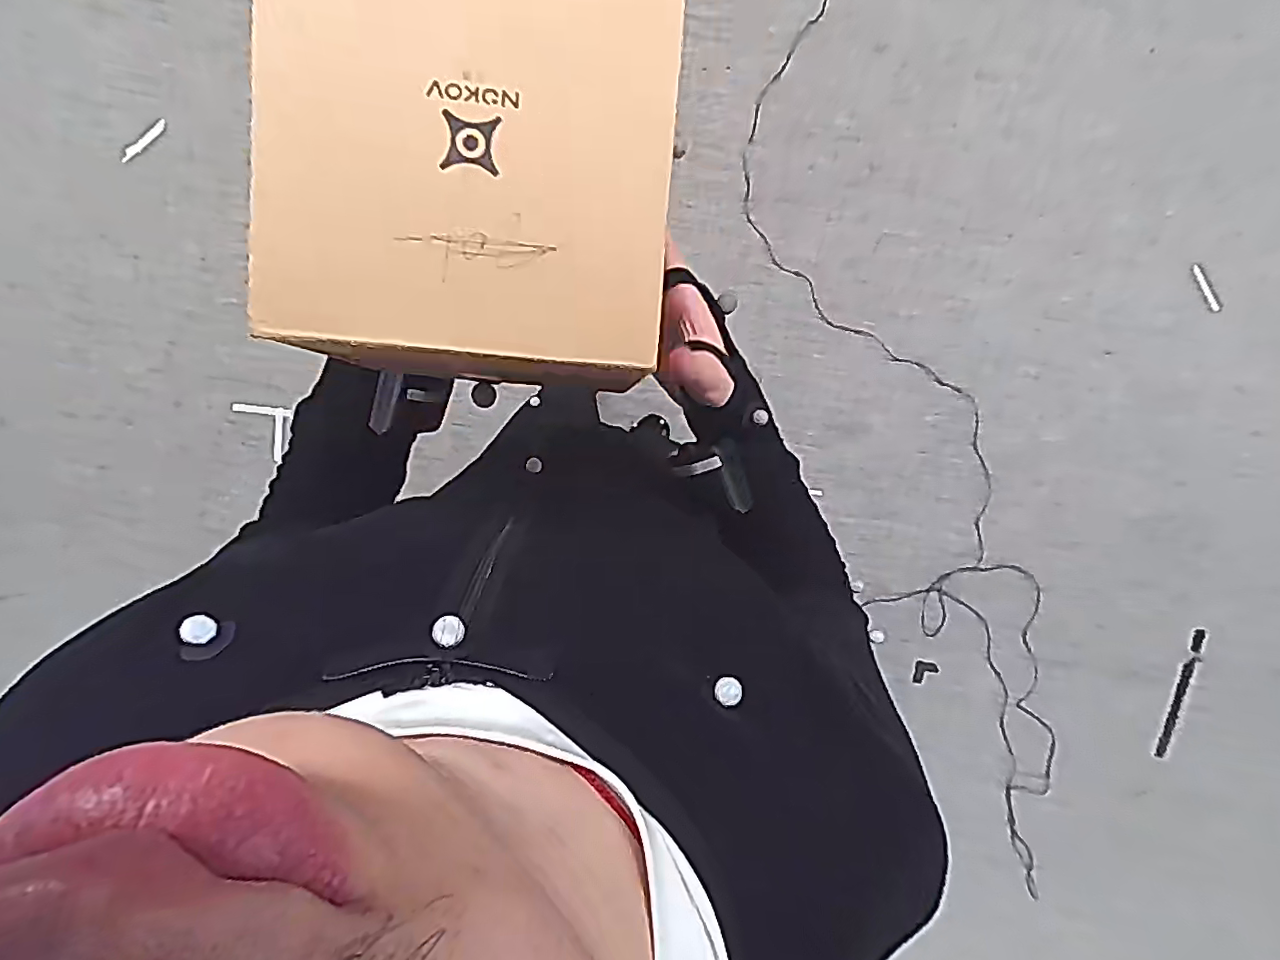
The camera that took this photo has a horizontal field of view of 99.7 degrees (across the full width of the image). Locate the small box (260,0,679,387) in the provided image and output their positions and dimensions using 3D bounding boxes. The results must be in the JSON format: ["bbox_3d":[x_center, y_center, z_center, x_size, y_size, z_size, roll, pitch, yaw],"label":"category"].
[{"bbox_3d":[-0.079,-0.153,0.308,0.168,0.176,0.179,4,96,-6],"label":"small box"}]
